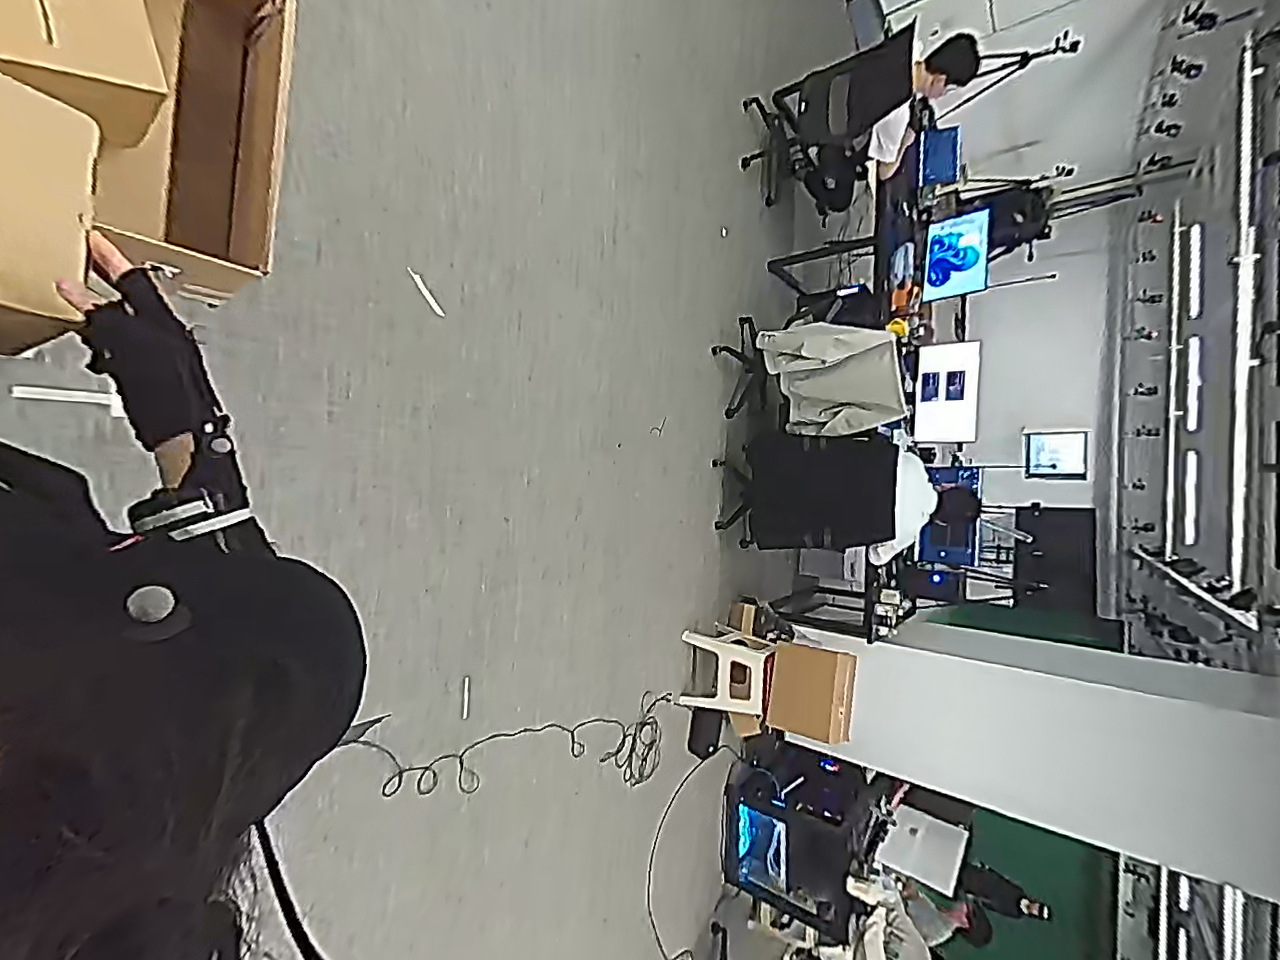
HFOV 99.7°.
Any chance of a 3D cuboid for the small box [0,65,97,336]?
[{"bbox_3d":[-0.534,-0.208,0.374,0.179,0.176,0.168,8,80,-63],"label":"small box"}]
